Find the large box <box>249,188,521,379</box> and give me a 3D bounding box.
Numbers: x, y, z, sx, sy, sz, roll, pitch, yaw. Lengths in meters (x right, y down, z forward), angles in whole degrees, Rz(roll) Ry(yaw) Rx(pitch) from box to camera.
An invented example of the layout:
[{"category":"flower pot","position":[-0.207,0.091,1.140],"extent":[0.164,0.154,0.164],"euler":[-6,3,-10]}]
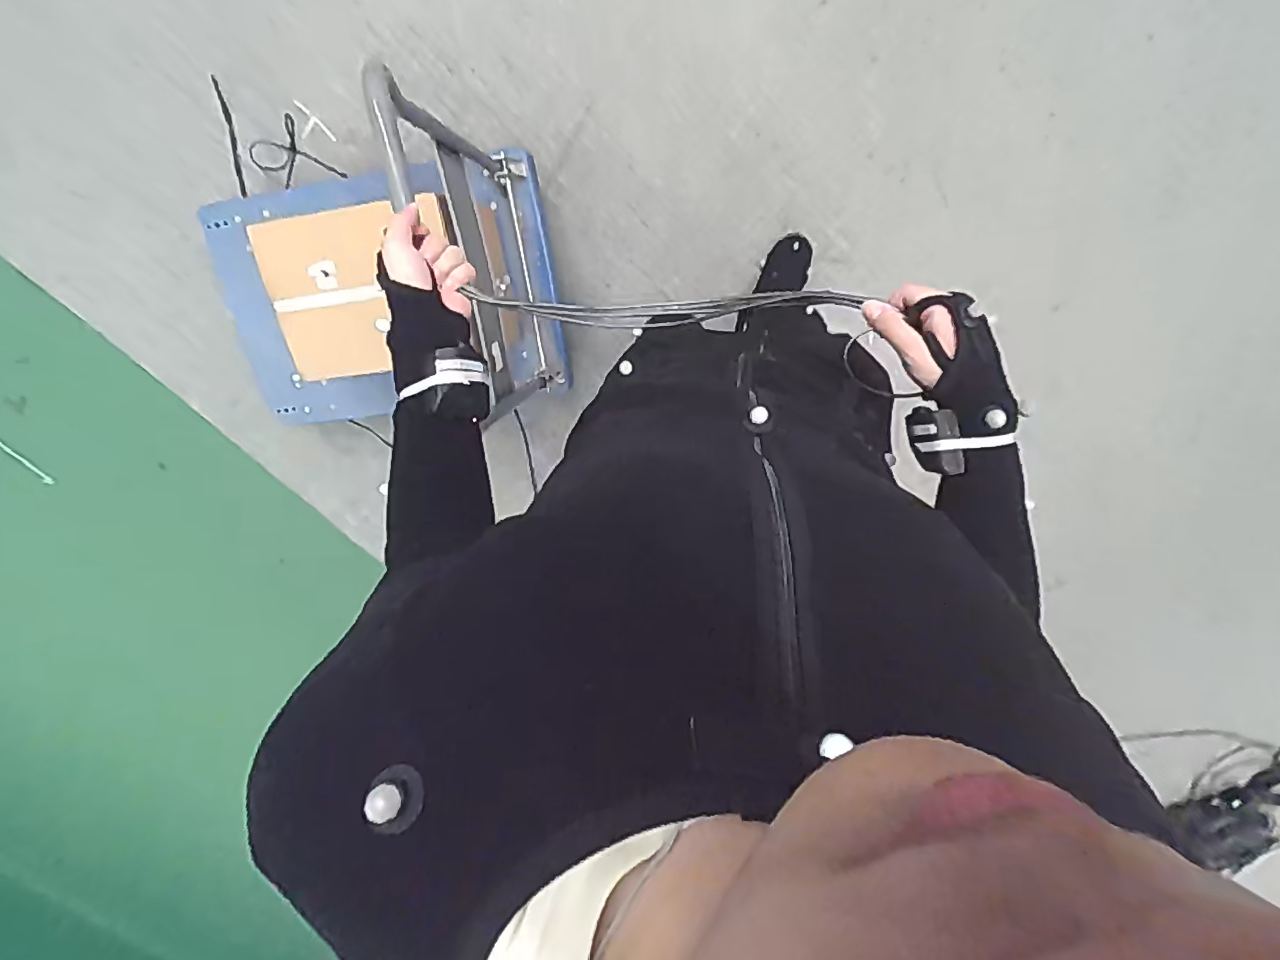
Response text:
[{"category":"large box","position":[-0.530,-0.431,1.211],"extent":[0.408,0.320,0.320],"euler":[-5,110,9]}]
